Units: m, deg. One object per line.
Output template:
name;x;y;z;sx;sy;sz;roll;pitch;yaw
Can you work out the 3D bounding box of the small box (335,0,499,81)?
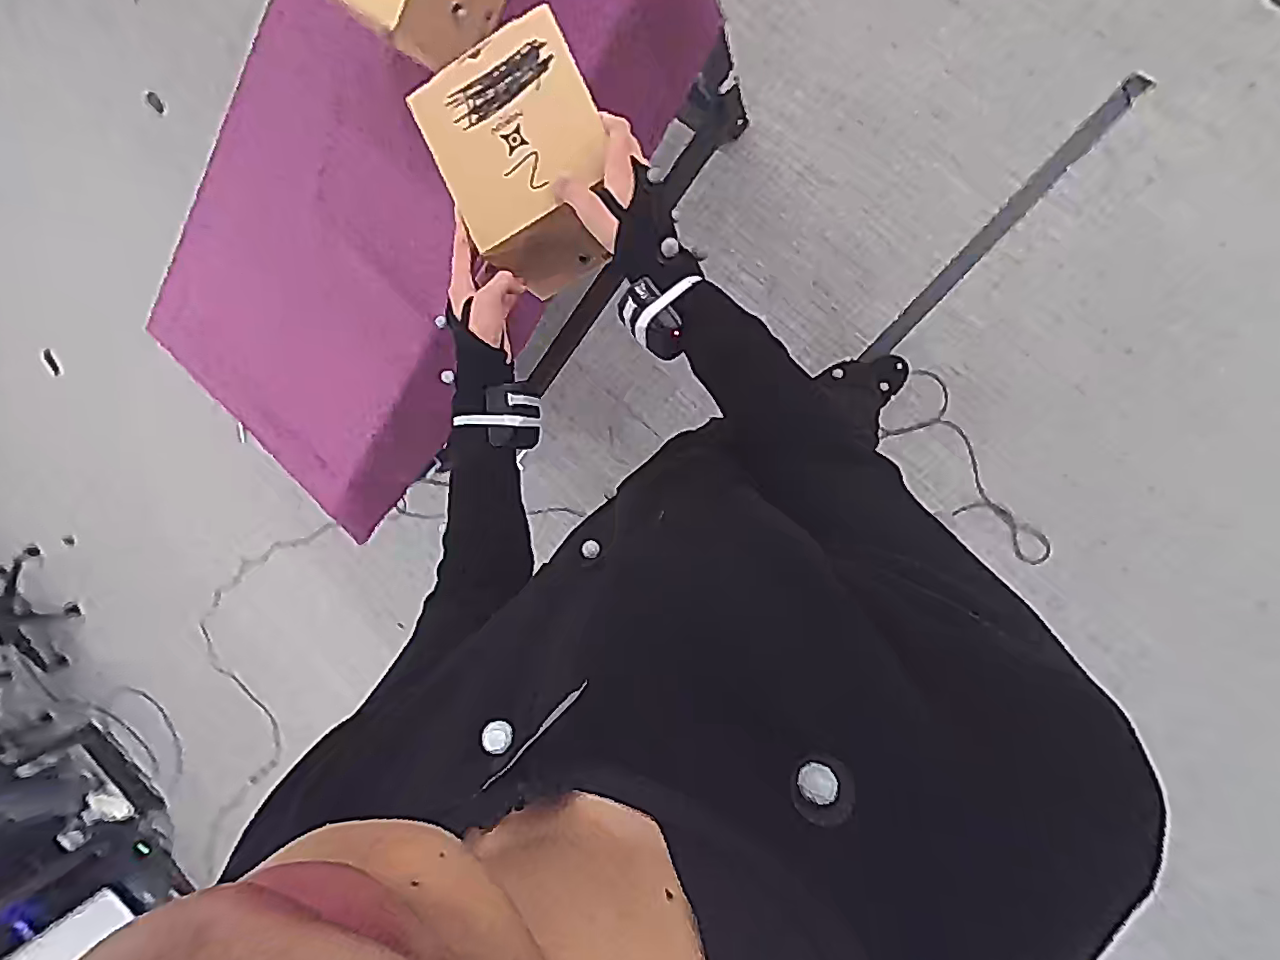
small box;-0.331;-0.725;0.781;0.179;0.176;0.168;36;109;9
